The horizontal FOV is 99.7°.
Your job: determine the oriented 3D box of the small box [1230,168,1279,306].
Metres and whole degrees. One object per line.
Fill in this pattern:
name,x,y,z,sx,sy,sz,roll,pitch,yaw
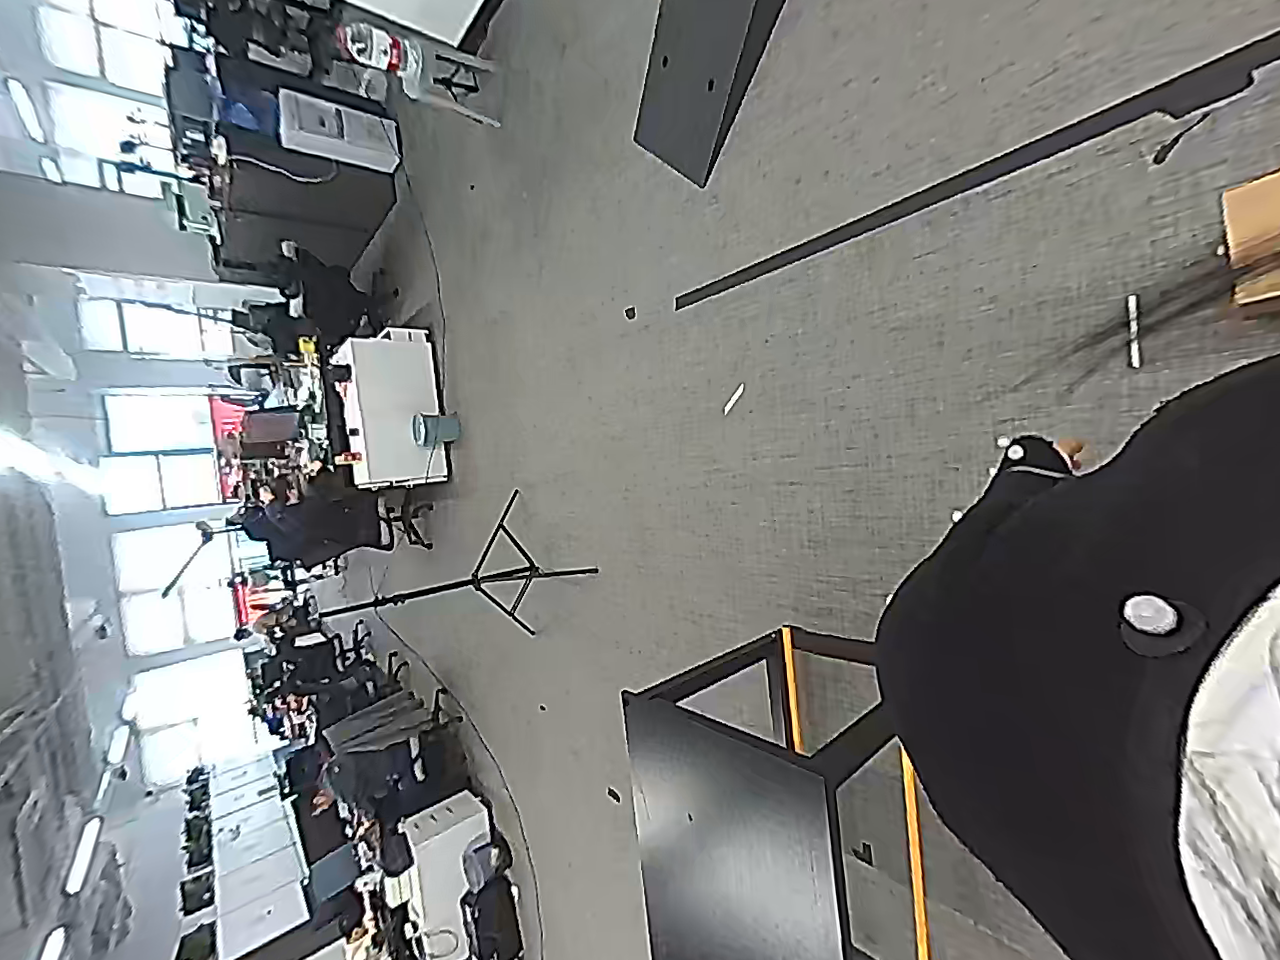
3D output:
small box,0.995,-0.367,0.785,0.168,0.176,0.179,-9,90,53

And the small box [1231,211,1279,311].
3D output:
small box,1.117,-0.387,0.891,0.179,0.176,0.168,-6,92,50
